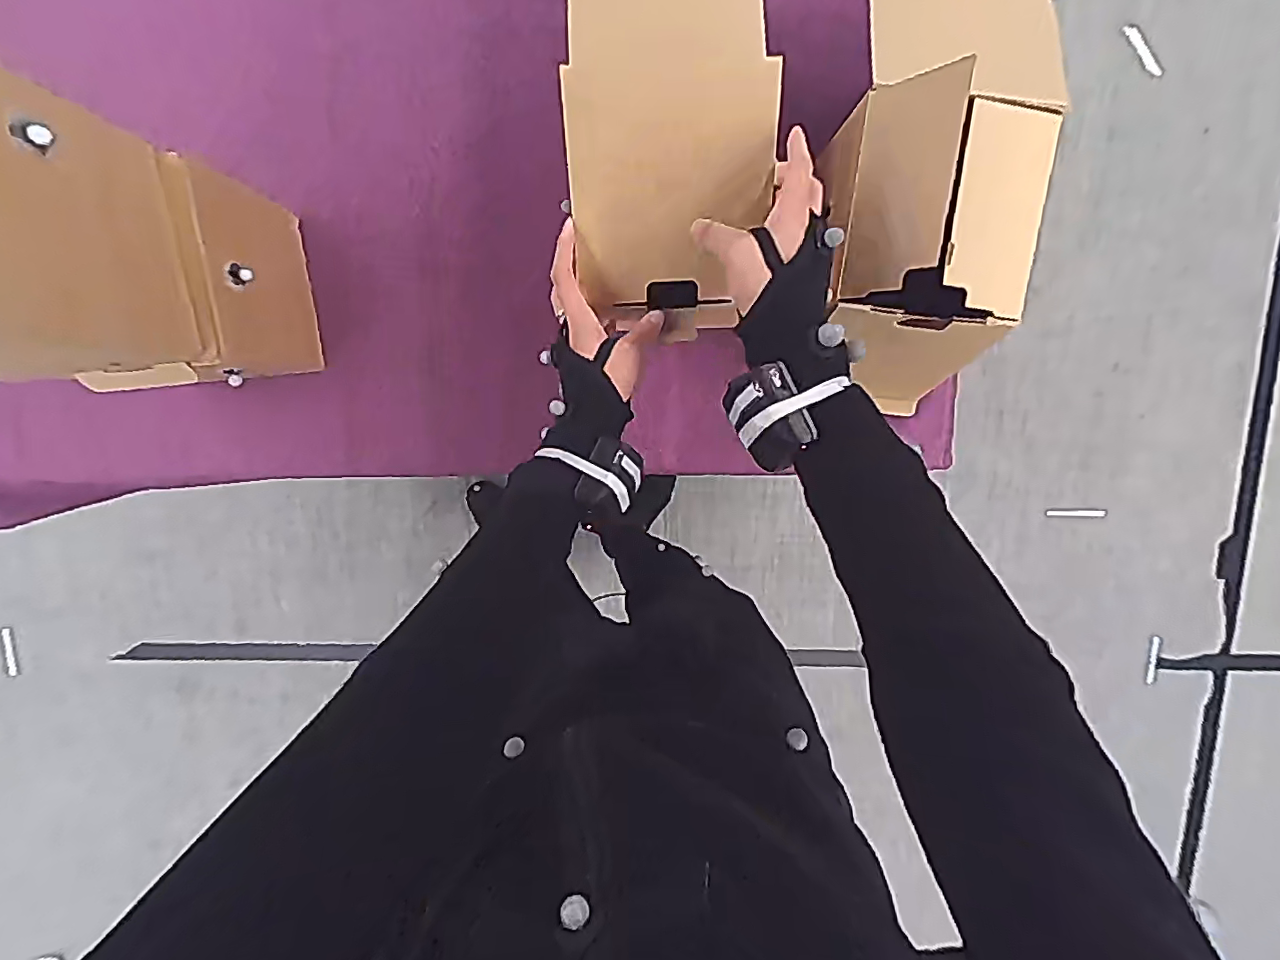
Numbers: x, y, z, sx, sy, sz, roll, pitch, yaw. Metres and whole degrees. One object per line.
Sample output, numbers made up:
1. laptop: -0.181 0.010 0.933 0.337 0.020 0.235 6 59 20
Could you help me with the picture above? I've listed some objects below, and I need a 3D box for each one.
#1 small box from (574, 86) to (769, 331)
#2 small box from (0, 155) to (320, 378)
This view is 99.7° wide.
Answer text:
1. small box: 0.026 -0.249 0.535 0.168 0.176 0.179 -1 99 1
2. small box: -0.456 -0.196 0.546 0.168 0.176 0.179 -4 99 0
